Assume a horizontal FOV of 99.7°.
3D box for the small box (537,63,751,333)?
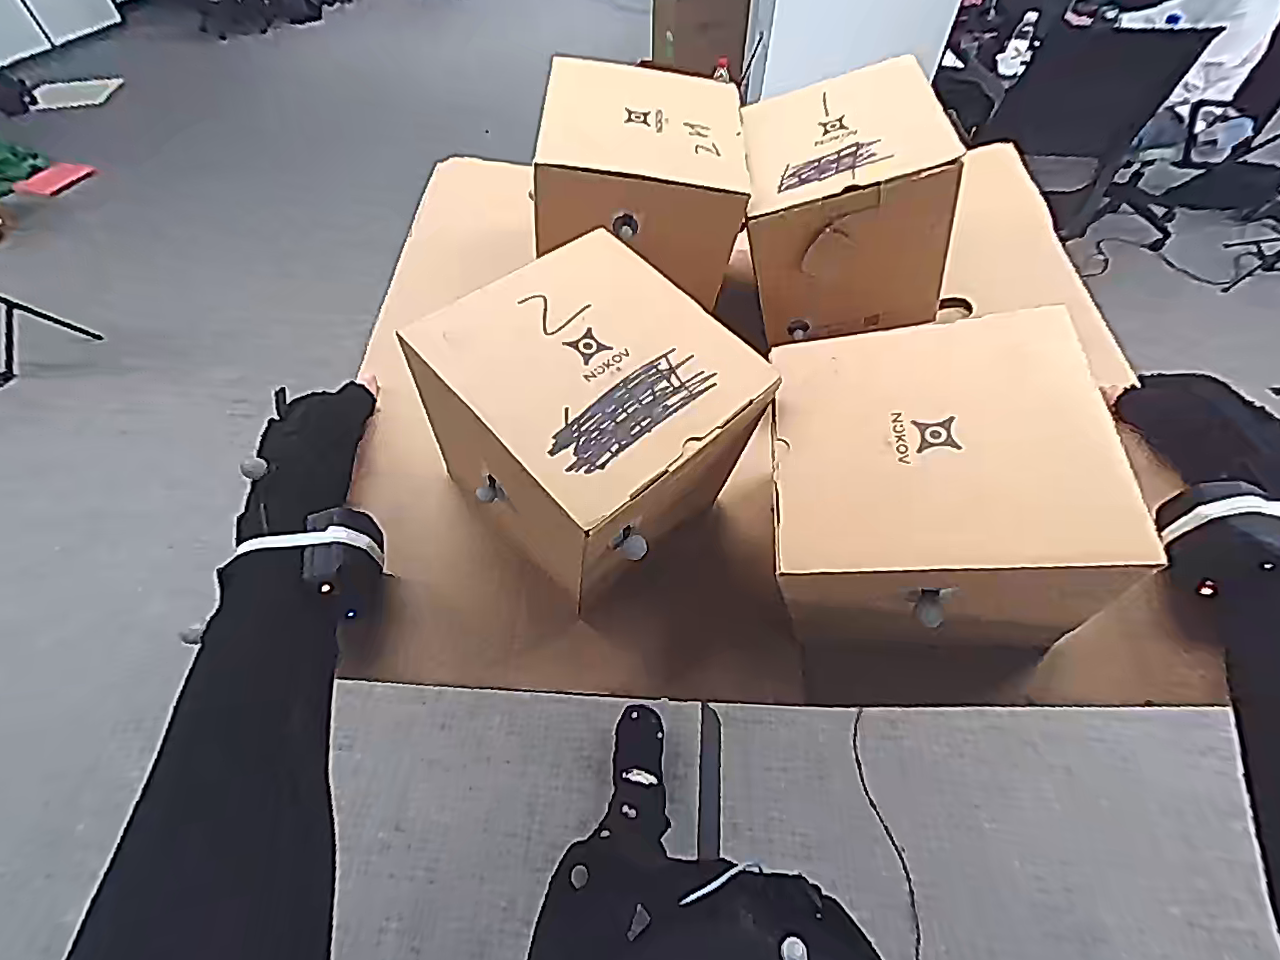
[{"bbox_3d":[-0.002,-0.268,0.539,0.179,0.176,0.168,6,62,-6],"label":"small box"}]
